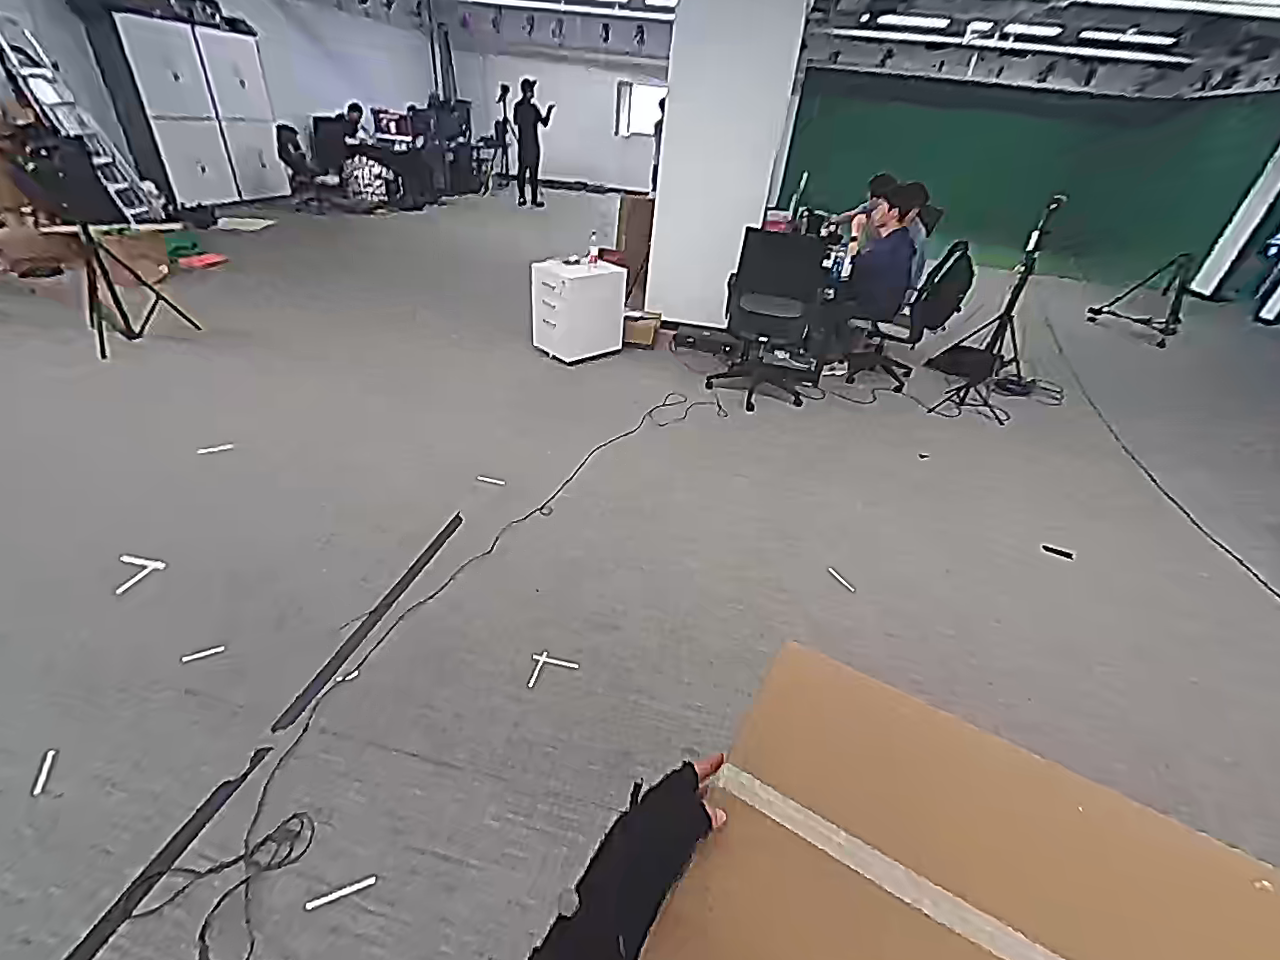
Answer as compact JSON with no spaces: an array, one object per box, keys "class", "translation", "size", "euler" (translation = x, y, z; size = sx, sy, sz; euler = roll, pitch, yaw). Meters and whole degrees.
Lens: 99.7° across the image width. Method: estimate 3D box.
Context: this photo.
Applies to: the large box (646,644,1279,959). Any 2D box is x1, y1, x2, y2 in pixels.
[{"class":"large box","translation":[0.246,0.434,0.498],"size":[0.408,0.320,0.320],"euler":[22,47,23]}]
